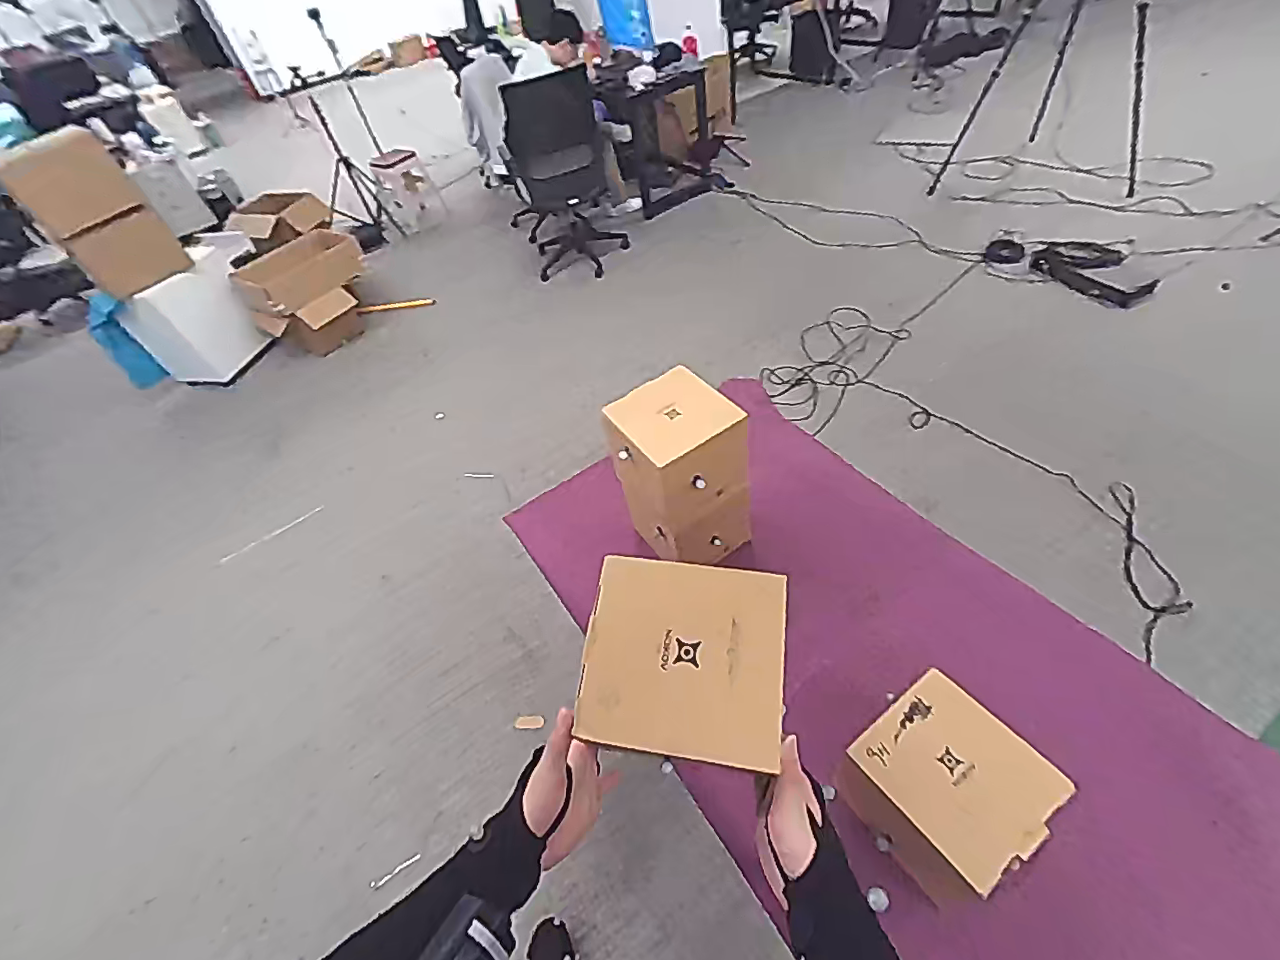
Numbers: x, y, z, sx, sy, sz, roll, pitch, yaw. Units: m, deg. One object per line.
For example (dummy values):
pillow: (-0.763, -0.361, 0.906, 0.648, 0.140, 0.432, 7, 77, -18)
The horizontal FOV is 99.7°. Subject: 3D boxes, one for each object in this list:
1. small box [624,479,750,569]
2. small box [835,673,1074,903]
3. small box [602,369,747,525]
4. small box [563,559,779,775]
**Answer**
small box: (0.094, 0.056, 1.025, 0.168, 0.176, 0.179, -31, 50, -15)
small box: (0.371, 0.383, 0.673, 0.168, 0.176, 0.179, -32, 50, -16)
small box: (0.064, -0.048, 0.905, 0.168, 0.176, 0.179, -32, 50, -14)
small box: (0.041, 0.194, 0.550, 0.179, 0.176, 0.168, 5, 62, 10)
